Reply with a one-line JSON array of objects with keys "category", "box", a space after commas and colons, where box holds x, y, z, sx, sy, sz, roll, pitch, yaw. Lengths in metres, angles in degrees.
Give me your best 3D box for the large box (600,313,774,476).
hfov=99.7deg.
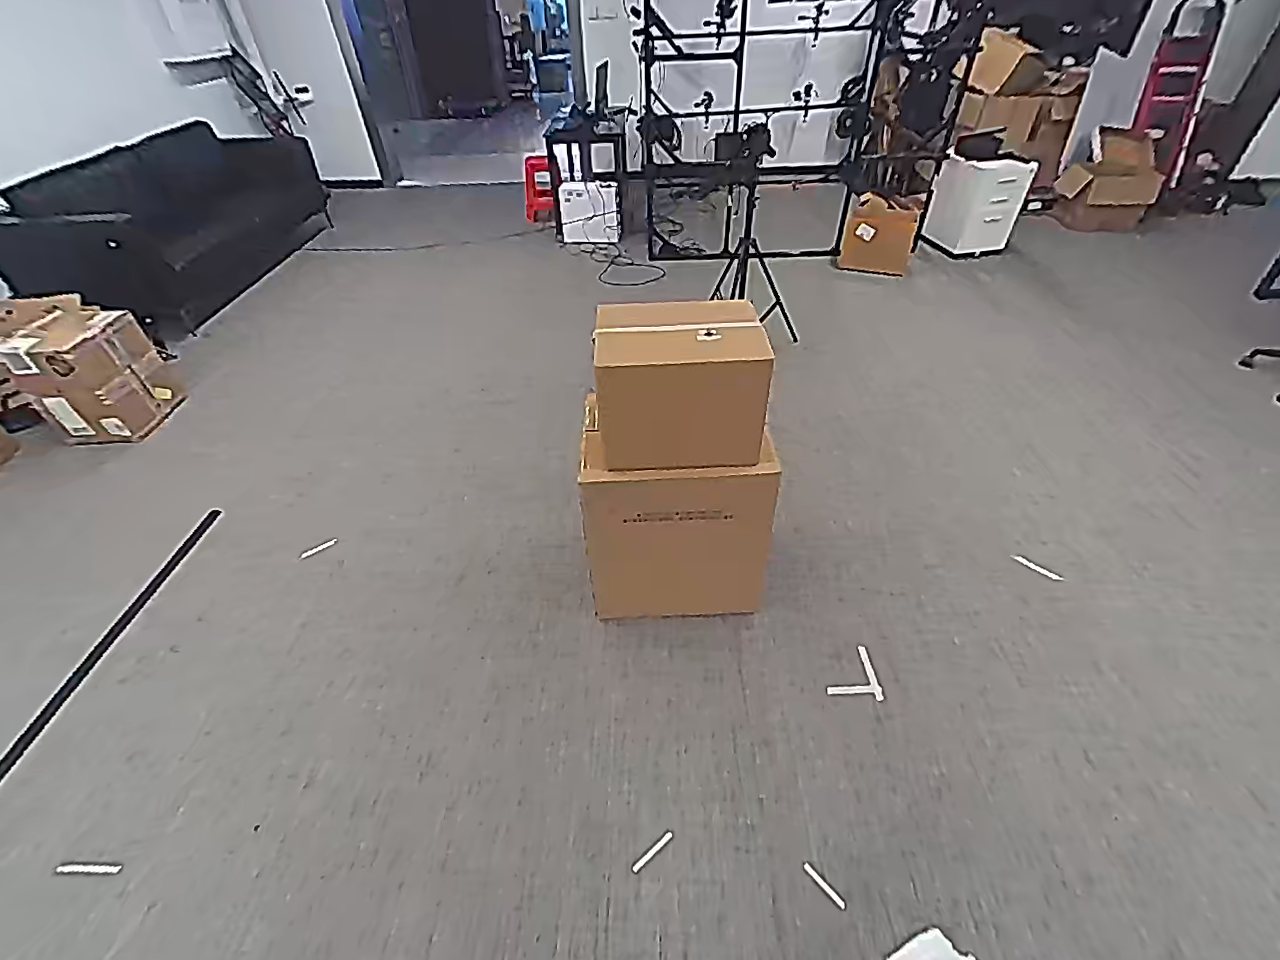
[{"category": "large box", "box": [0.103, -0.226, 1.424, 0.408, 0.320, 0.320, -2, 42, -1]}]
